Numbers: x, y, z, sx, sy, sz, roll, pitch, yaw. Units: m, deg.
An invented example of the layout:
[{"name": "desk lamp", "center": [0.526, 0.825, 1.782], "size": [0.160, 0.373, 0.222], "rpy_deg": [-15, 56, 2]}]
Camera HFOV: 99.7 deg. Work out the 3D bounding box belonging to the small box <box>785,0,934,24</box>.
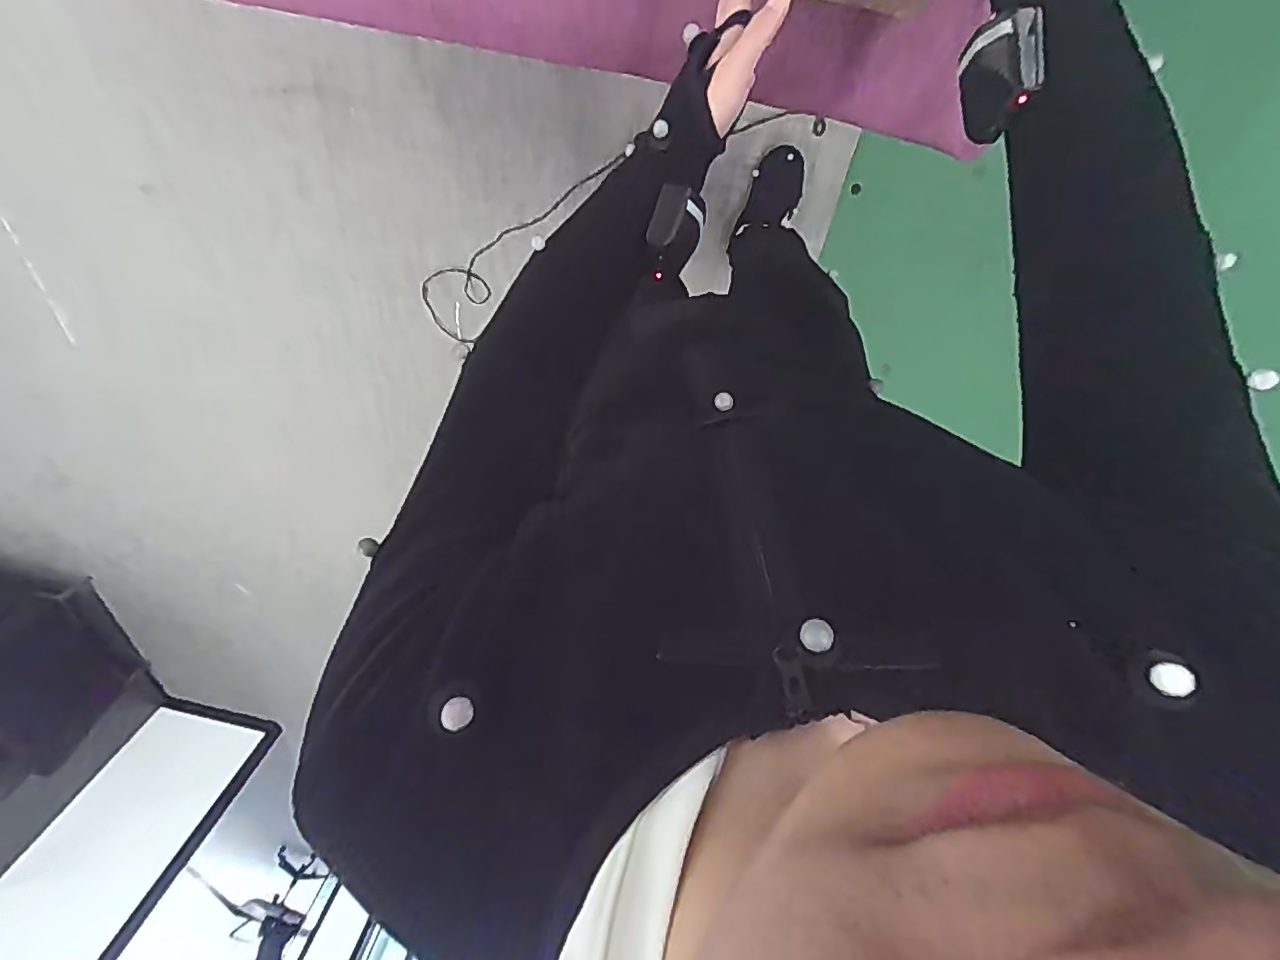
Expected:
[{"name": "small box", "center": [0.196, -0.520, 0.453], "size": [0.168, 0.176, 0.179], "rpy_deg": [17, 126, 5]}]
